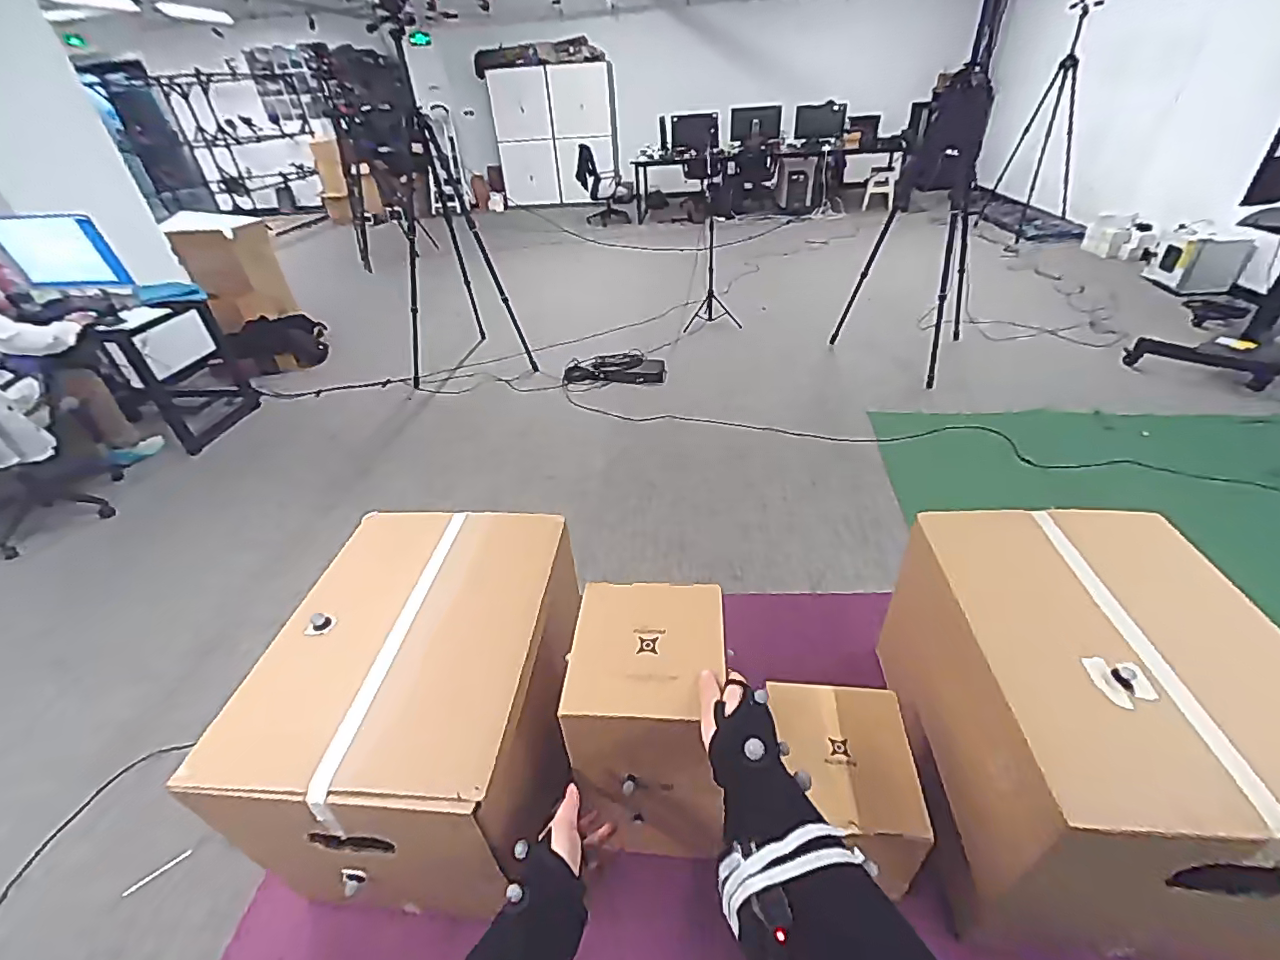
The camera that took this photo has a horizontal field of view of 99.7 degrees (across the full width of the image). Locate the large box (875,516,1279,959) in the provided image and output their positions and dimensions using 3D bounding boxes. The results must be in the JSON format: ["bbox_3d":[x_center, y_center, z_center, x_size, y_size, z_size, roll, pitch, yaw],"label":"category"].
[{"bbox_3d":[0.533,0.292,0.681,0.320,0.320,0.408,1,37,7],"label":"large box"}]
